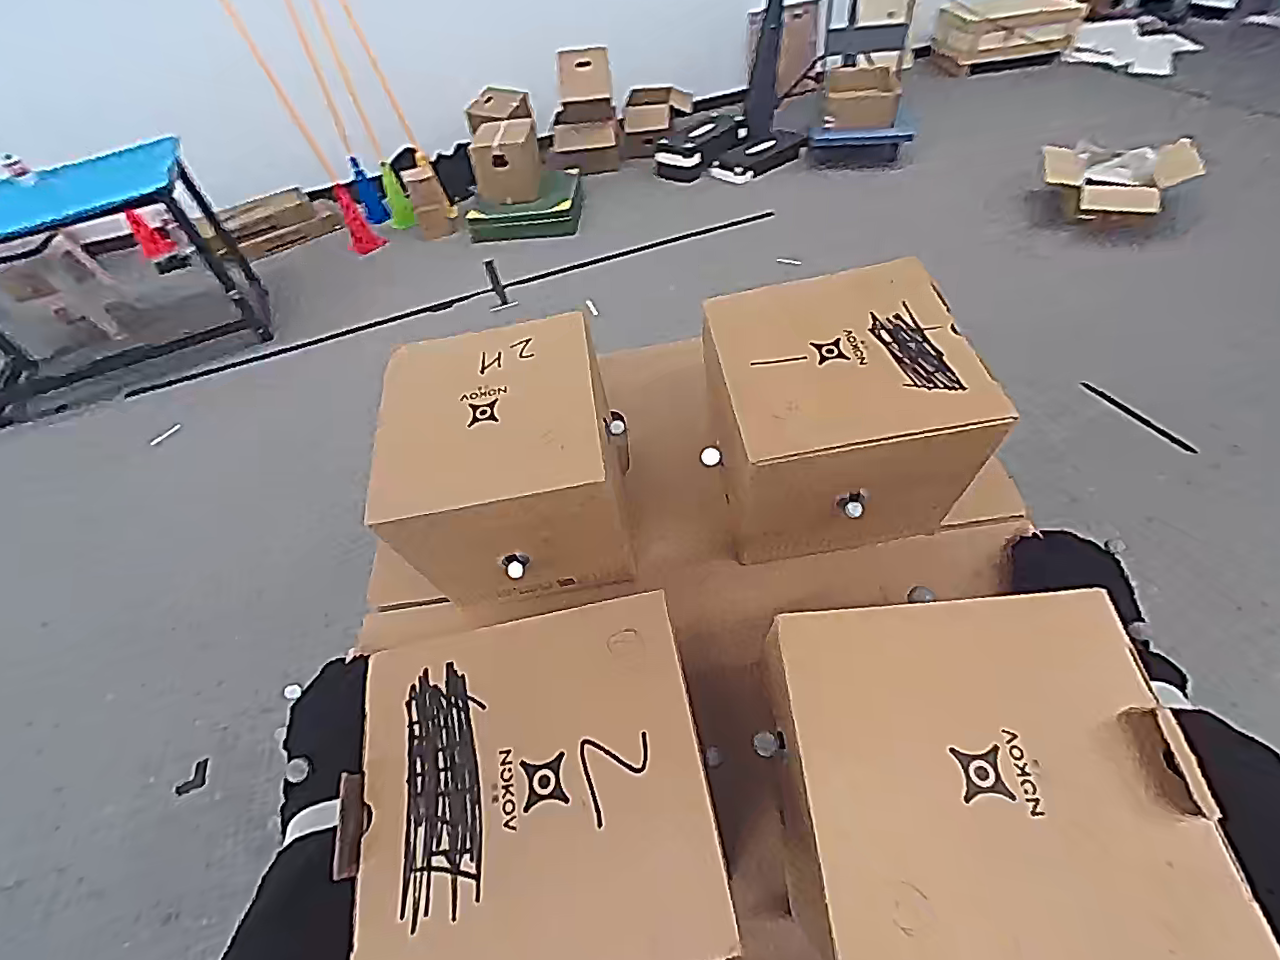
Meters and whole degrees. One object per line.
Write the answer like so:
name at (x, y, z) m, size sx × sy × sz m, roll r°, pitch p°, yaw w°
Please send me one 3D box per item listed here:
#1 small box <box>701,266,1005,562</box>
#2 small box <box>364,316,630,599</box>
small box at (0.152, -0.046, 0.458) m, size 0.179 × 0.176 × 0.168 m, roll -10°, pitch 57°, yaw 3°
small box at (-0.107, -0.008, 0.472) m, size 0.168 × 0.176 × 0.179 m, roll -10°, pitch 56°, yaw 1°
